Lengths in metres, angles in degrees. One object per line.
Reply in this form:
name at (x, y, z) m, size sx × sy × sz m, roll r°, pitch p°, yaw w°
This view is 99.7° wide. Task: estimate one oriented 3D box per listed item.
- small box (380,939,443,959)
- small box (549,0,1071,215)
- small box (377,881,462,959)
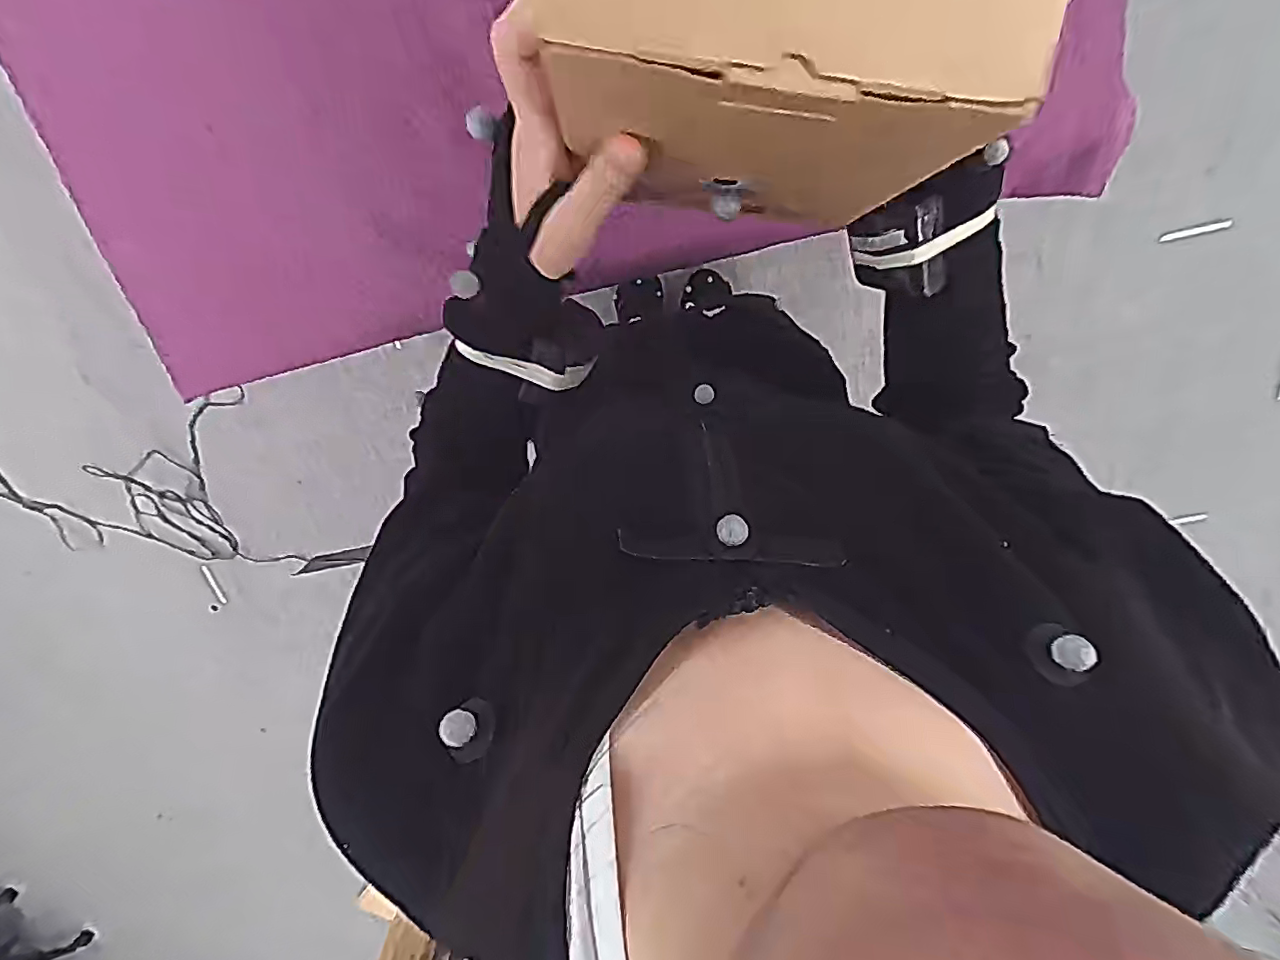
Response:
small box at (-0.704, 1.504, 1.580) m, size 0.168 × 0.176 × 0.179 m, roll 34°, pitch 109°, yaw -11°
small box at (0.056, -0.234, 0.229) m, size 0.168 × 0.176 × 0.179 m, roll 4°, pitch 104°, yaw -4°
small box at (-0.697, 1.442, 1.731) m, size 0.168 × 0.176 × 0.179 m, roll 34°, pitch 108°, yaw -11°
